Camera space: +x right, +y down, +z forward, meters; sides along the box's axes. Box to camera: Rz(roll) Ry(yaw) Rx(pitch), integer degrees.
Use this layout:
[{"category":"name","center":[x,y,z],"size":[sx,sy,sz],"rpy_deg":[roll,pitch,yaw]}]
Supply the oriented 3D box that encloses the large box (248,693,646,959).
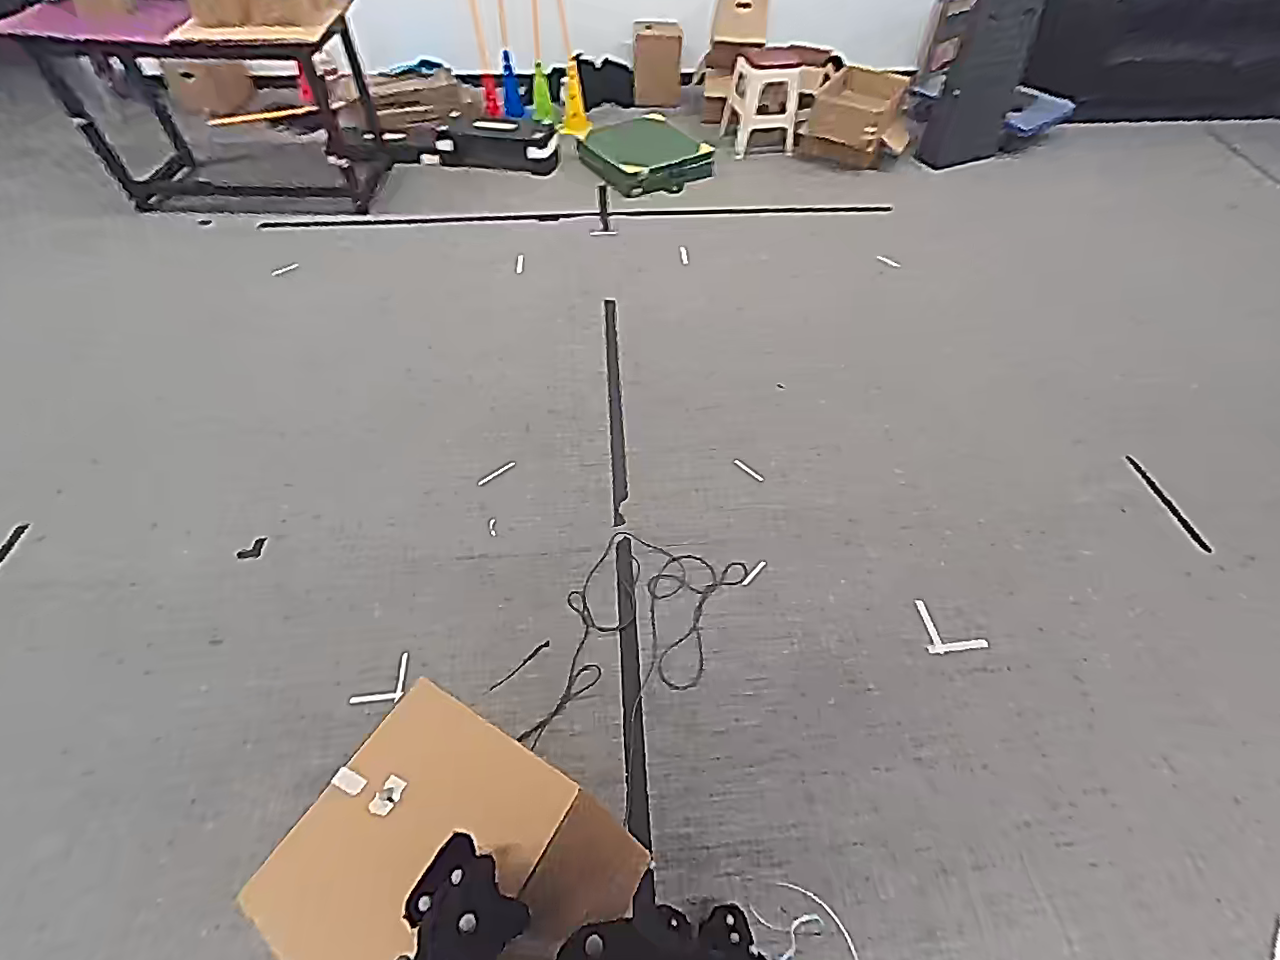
[{"category":"large box","center":[-0.235,0.579,0.790],"size":[0.320,0.408,0.320],"rpy_deg":[17,55,30]}]
